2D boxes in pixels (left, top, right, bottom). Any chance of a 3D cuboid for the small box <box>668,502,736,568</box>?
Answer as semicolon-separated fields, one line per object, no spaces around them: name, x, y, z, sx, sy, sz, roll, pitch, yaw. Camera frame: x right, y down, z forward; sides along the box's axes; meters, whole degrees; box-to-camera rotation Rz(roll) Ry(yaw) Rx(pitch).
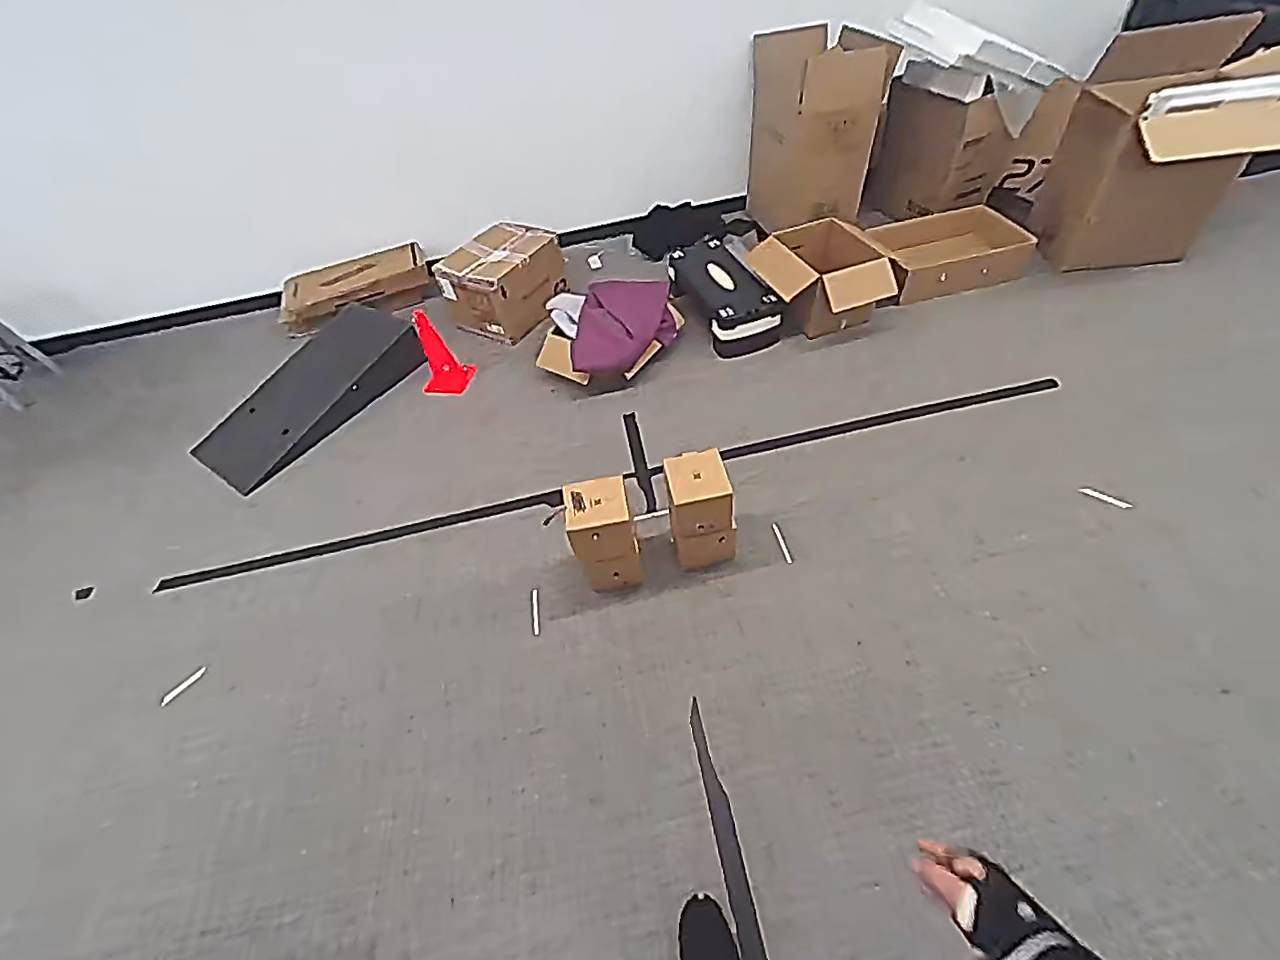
small box;0.191;0.152;1.695;0.179;0.176;0.168;-13;49;-3

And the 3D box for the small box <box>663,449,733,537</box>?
small box;0.167;0.039;1.580;0.168;0.176;0.179;-12;51;-1

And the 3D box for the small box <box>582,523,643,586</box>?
small box;-0.088;0.215;1.682;0.168;0.176;0.179;-11;50;0

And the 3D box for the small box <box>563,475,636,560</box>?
small box;-0.115;0.112;1.553;0.179;0.176;0.168;-10;49;1
